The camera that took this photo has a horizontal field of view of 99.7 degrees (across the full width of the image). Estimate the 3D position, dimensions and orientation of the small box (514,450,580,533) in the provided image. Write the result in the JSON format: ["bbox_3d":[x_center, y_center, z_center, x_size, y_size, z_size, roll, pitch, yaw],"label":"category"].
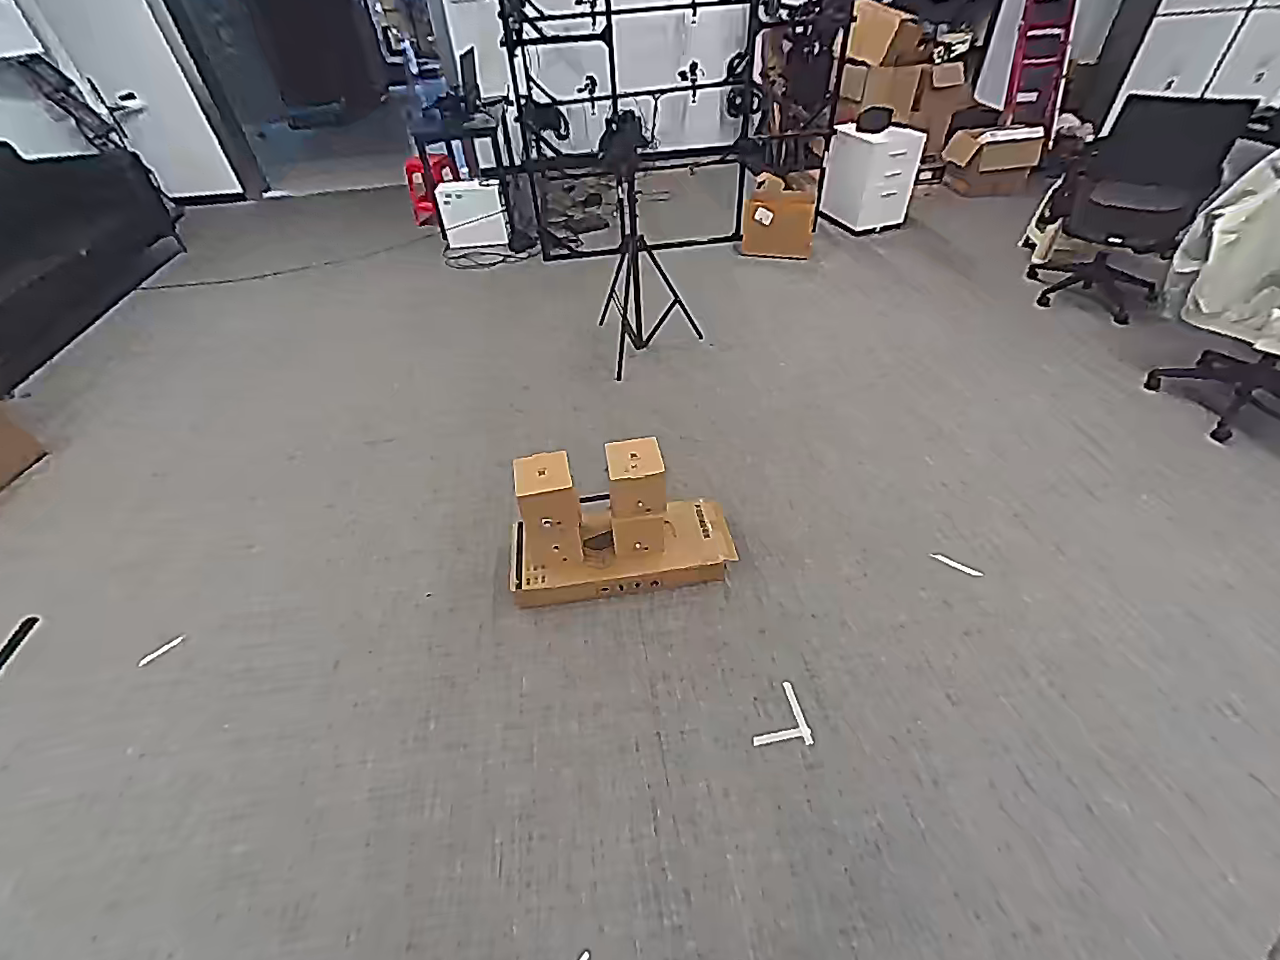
[{"bbox_3d":[-0.287,0.035,1.668,0.168,0.176,0.179,-12,45,-8],"label":"small box"}]

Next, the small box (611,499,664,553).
[{"bbox_3d":[-0.010,0.119,1.799,0.168,0.176,0.179,-6,44,0],"label":"small box"}]

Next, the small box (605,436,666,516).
[{"bbox_3d":[-0.015,-0.011,1.696,0.168,0.176,0.179,-9,43,-4],"label":"small box"}]

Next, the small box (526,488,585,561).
[{"bbox_3d":[-0.276,0.154,1.780,0.168,0.176,0.179,-7,44,-3],"label":"small box"}]
